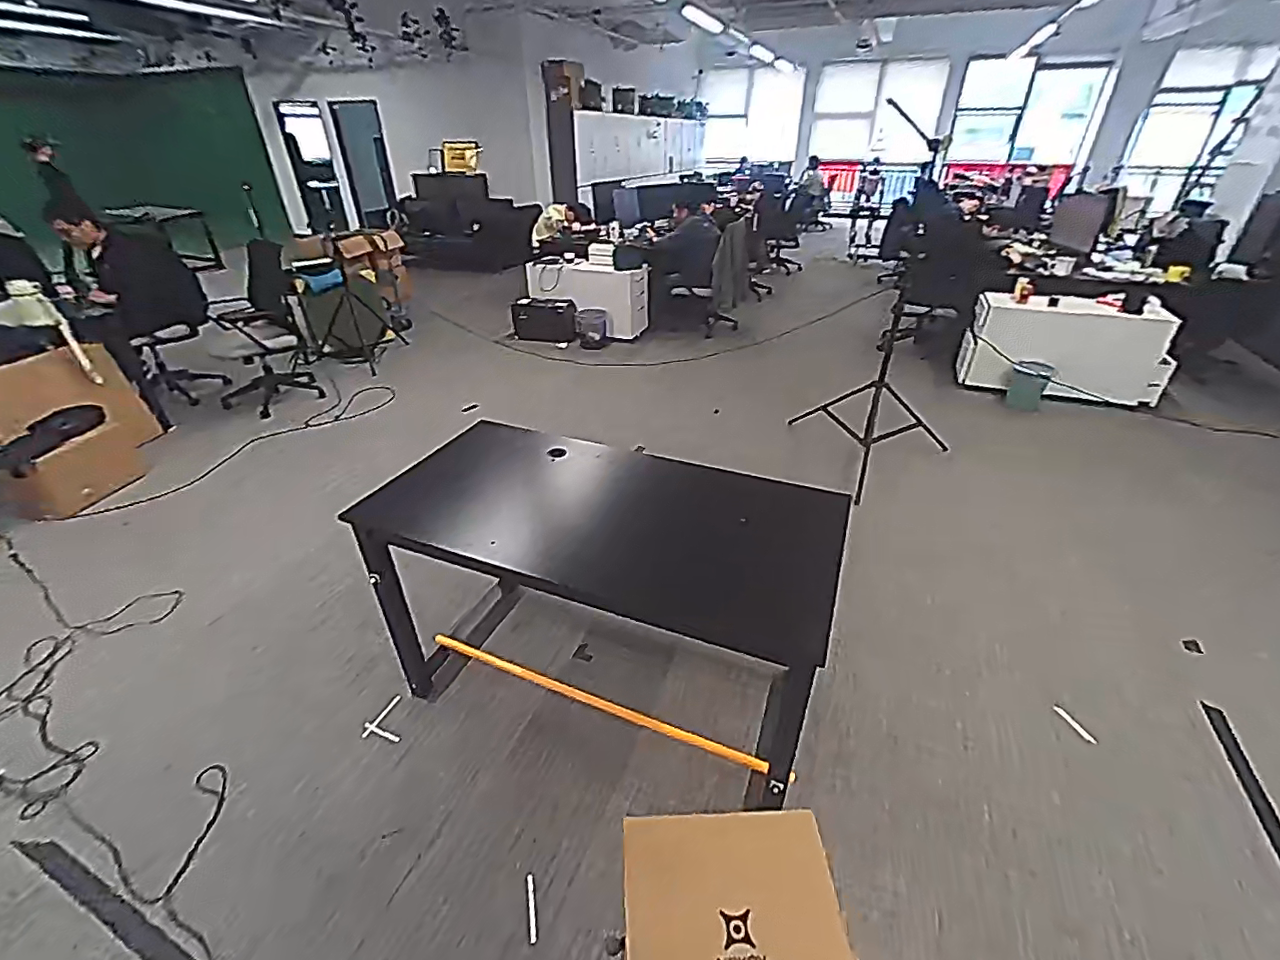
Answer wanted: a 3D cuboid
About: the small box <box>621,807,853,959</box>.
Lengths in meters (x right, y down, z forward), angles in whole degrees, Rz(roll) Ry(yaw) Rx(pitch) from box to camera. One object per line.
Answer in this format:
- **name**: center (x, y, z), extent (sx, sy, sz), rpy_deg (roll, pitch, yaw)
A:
- **small box**: center (0.069, 0.400, 0.447), extent (0.168, 0.176, 0.179), rpy_deg (-1, 39, -3)
